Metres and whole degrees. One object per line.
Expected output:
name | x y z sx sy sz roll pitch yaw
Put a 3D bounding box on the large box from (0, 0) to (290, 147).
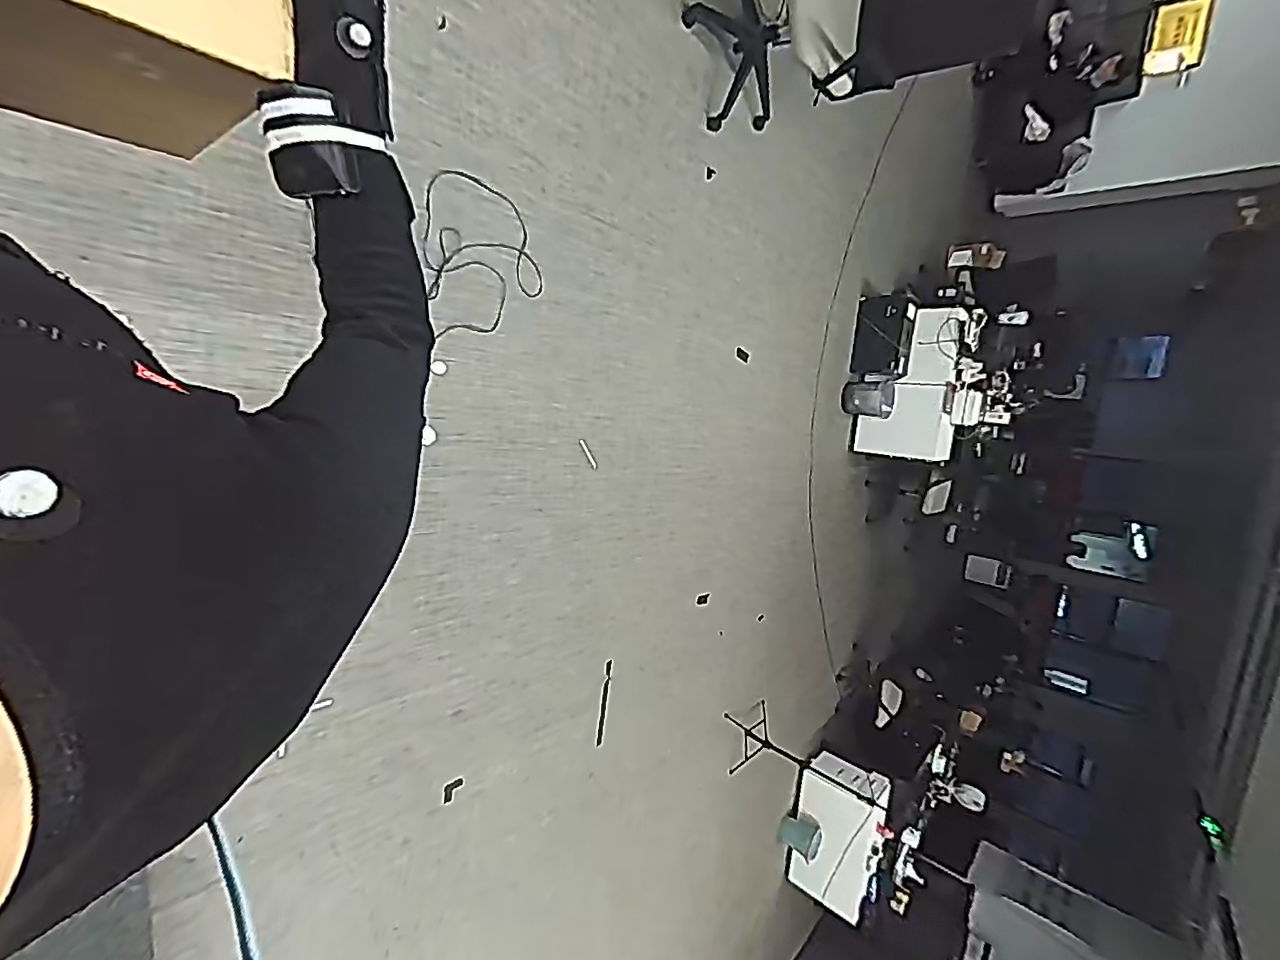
large box | -0.481 -0.444 0.298 0.408 0.320 0.320 -9 109 -49
